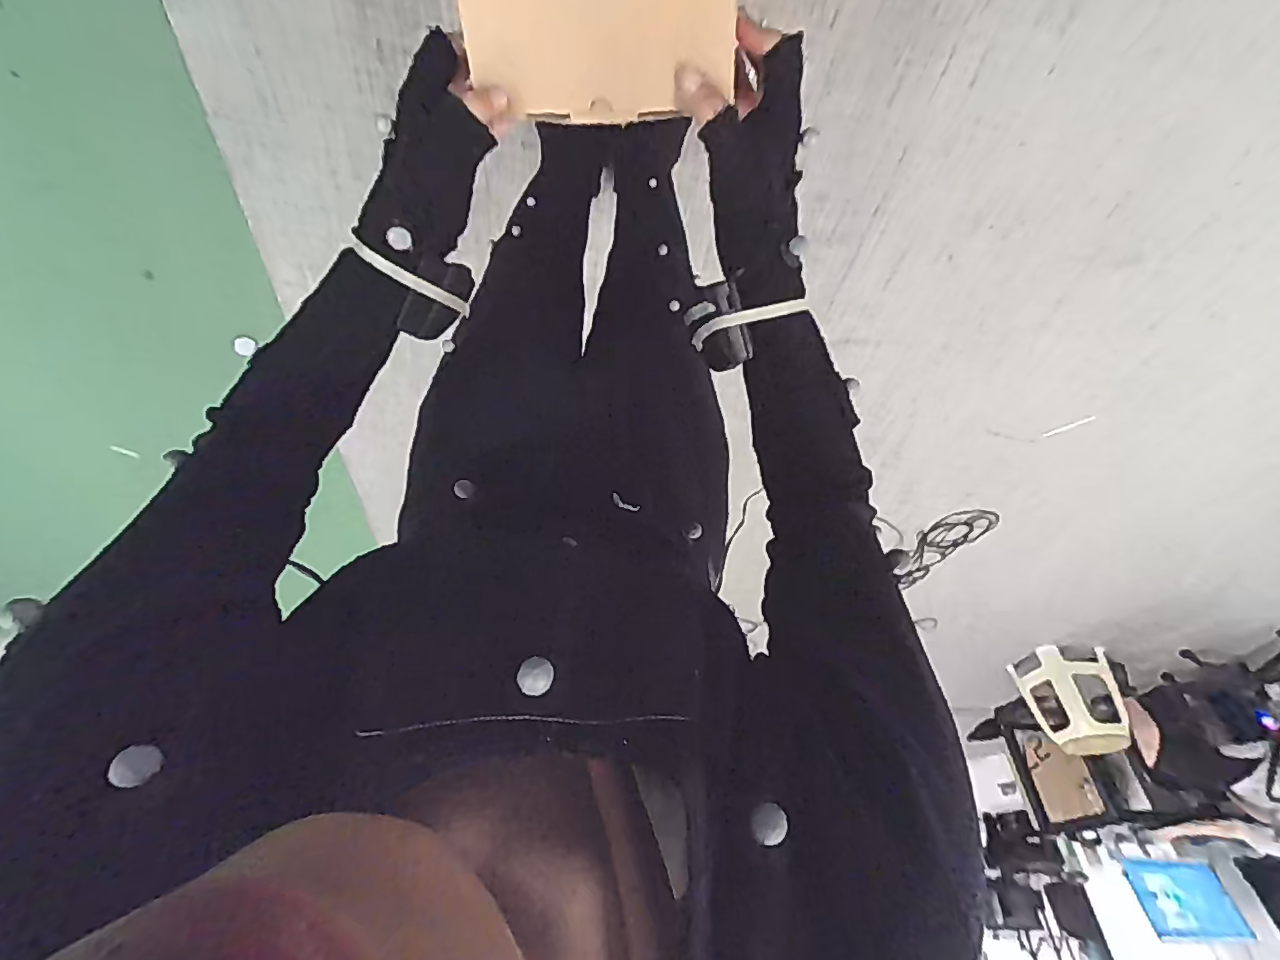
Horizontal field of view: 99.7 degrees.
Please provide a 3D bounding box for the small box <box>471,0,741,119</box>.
[{"bbox_3d":[-0.016,-0.359,0.367,0.168,0.176,0.179,2,130,5],"label":"small box"}]
